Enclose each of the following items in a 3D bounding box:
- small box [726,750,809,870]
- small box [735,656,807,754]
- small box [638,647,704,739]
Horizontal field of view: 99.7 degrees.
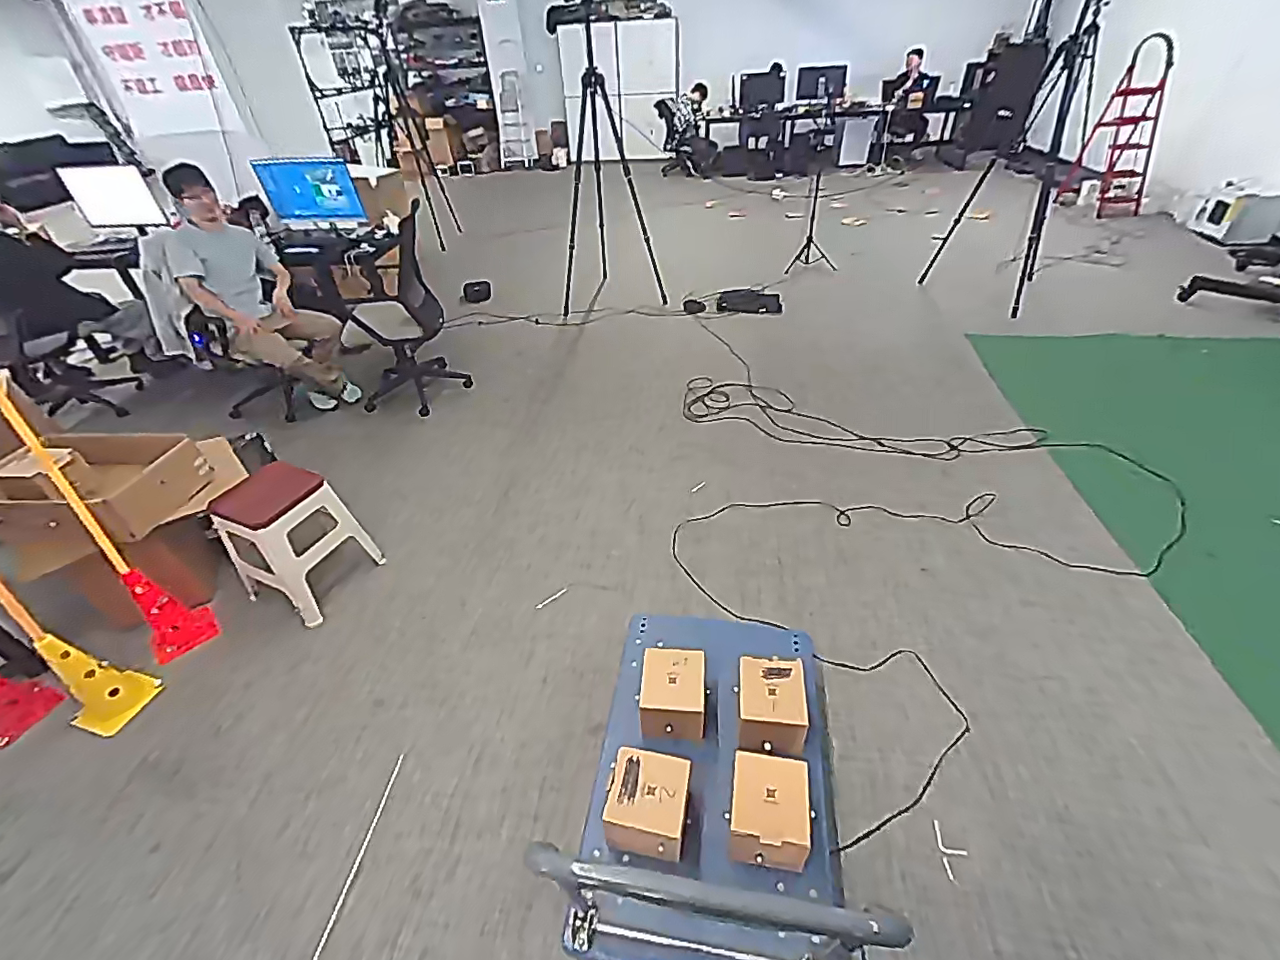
[{"bbox_3d":[0.290,0.759,1.245,0.168,0.176,0.179,5,42,10],"label":"small box"},{"bbox_3d":[0.341,0.596,1.433,0.168,0.176,0.179,3,42,8],"label":"small box"},{"bbox_3d":[0.088,0.580,1.469,0.168,0.176,0.179,3,40,6],"label":"small box"}]
